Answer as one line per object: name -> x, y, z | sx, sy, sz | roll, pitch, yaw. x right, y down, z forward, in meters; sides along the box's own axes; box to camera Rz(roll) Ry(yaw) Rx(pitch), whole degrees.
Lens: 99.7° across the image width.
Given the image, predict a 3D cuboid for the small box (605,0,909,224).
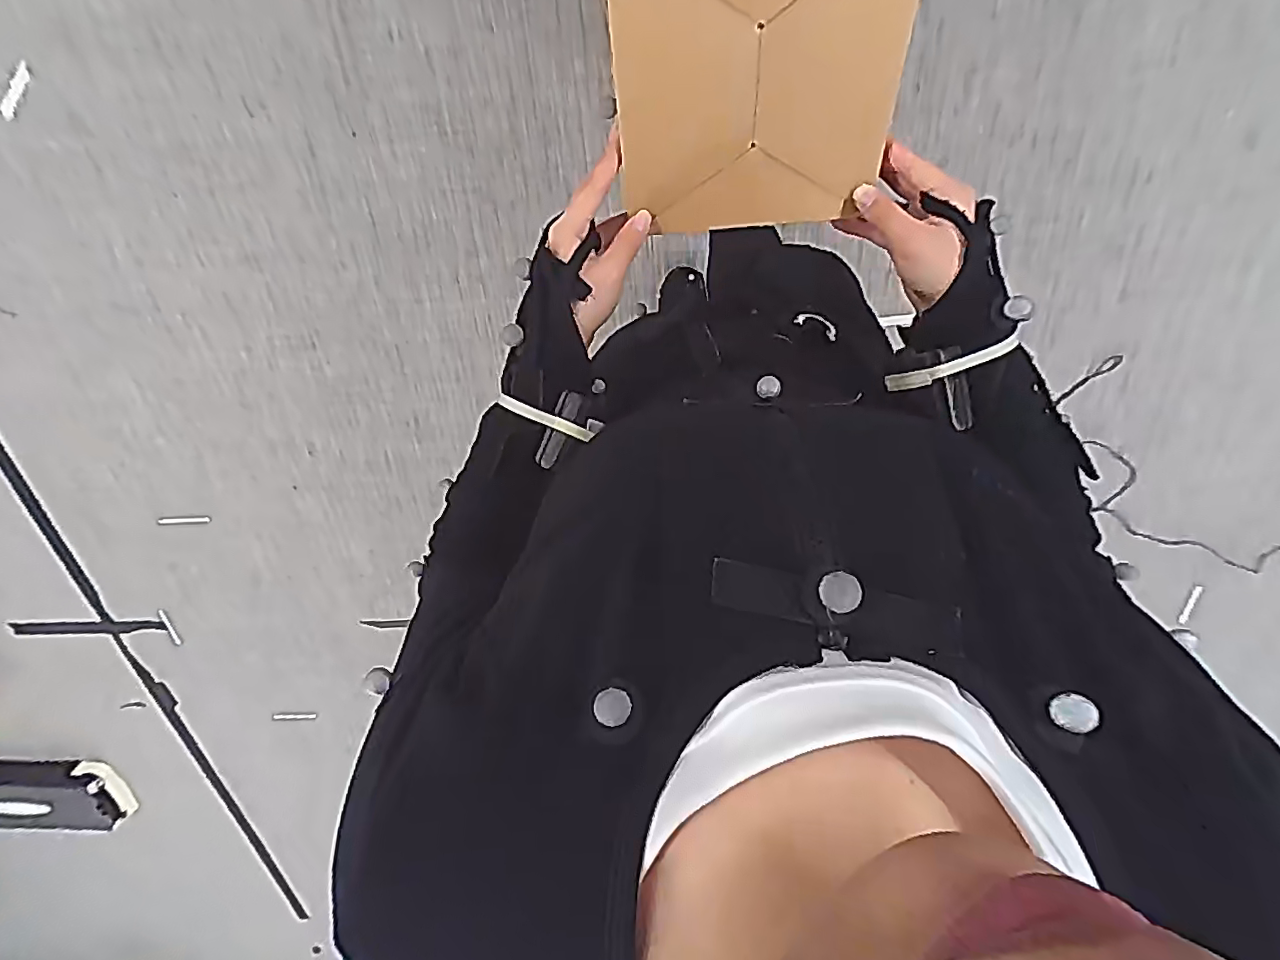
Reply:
small box -> 0.067, -0.303, 0.389 | 0.179, 0.176, 0.168 | -4, 138, 2
